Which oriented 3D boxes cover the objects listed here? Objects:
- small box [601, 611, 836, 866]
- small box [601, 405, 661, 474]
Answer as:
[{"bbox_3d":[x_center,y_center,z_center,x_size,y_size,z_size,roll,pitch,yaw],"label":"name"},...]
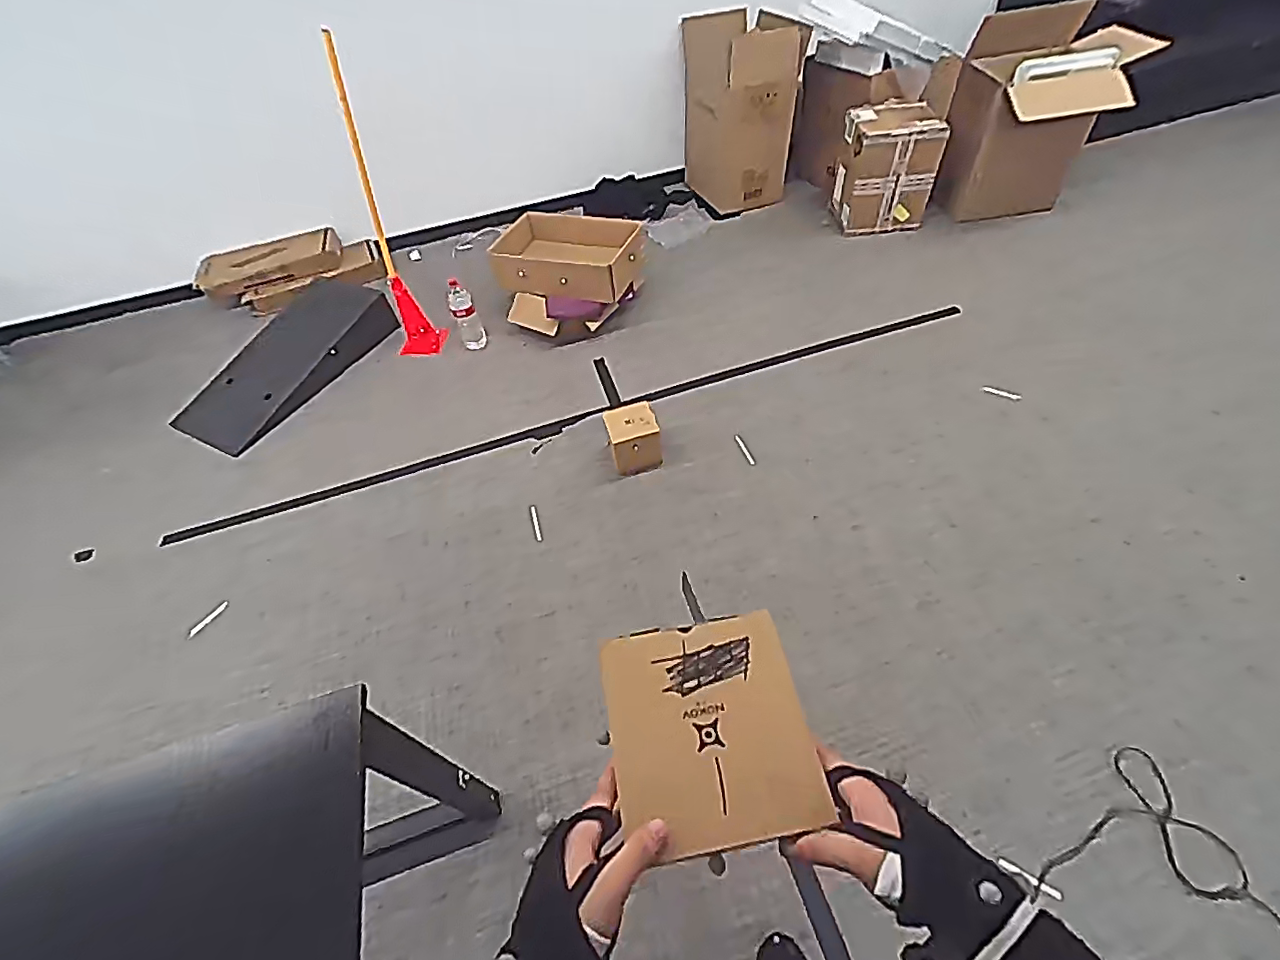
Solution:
[{"bbox_3d":[0.057,0.250,0.516,0.168,0.176,0.179,-9,55,-5],"label":"small box"},{"bbox_3d":[-0.030,-0.144,1.976,0.179,0.176,0.168,-16,51,-7],"label":"small box"}]
